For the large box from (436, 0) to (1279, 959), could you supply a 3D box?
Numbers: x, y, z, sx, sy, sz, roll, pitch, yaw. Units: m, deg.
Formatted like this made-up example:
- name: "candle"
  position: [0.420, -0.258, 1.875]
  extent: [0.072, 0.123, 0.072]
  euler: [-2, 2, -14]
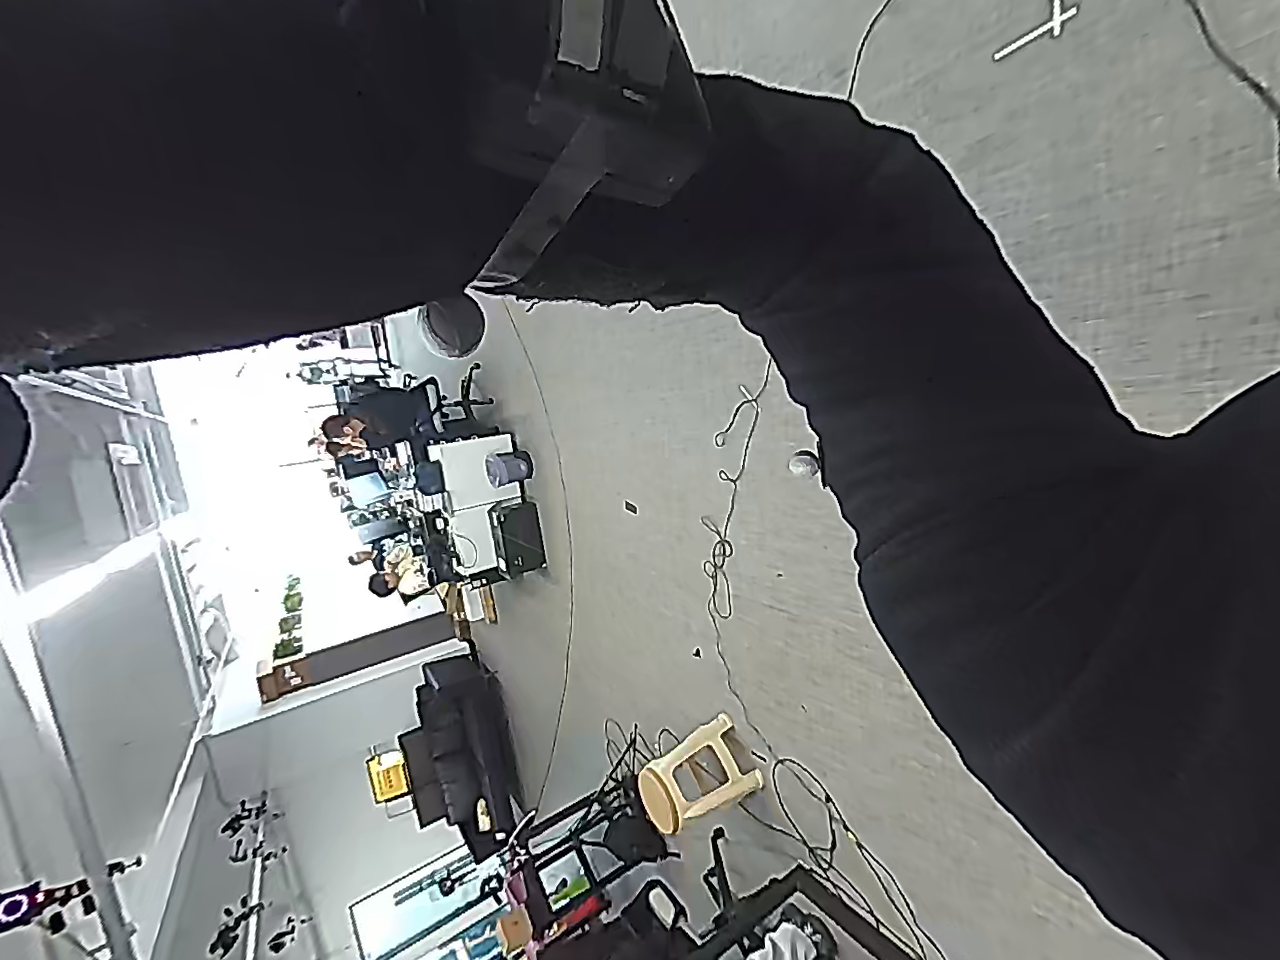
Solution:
- name: "large box"
  position: [0.170, -0.021, 0.147]
  extent: [0.408, 0.320, 0.320]
  euler: [26, -83, 57]
